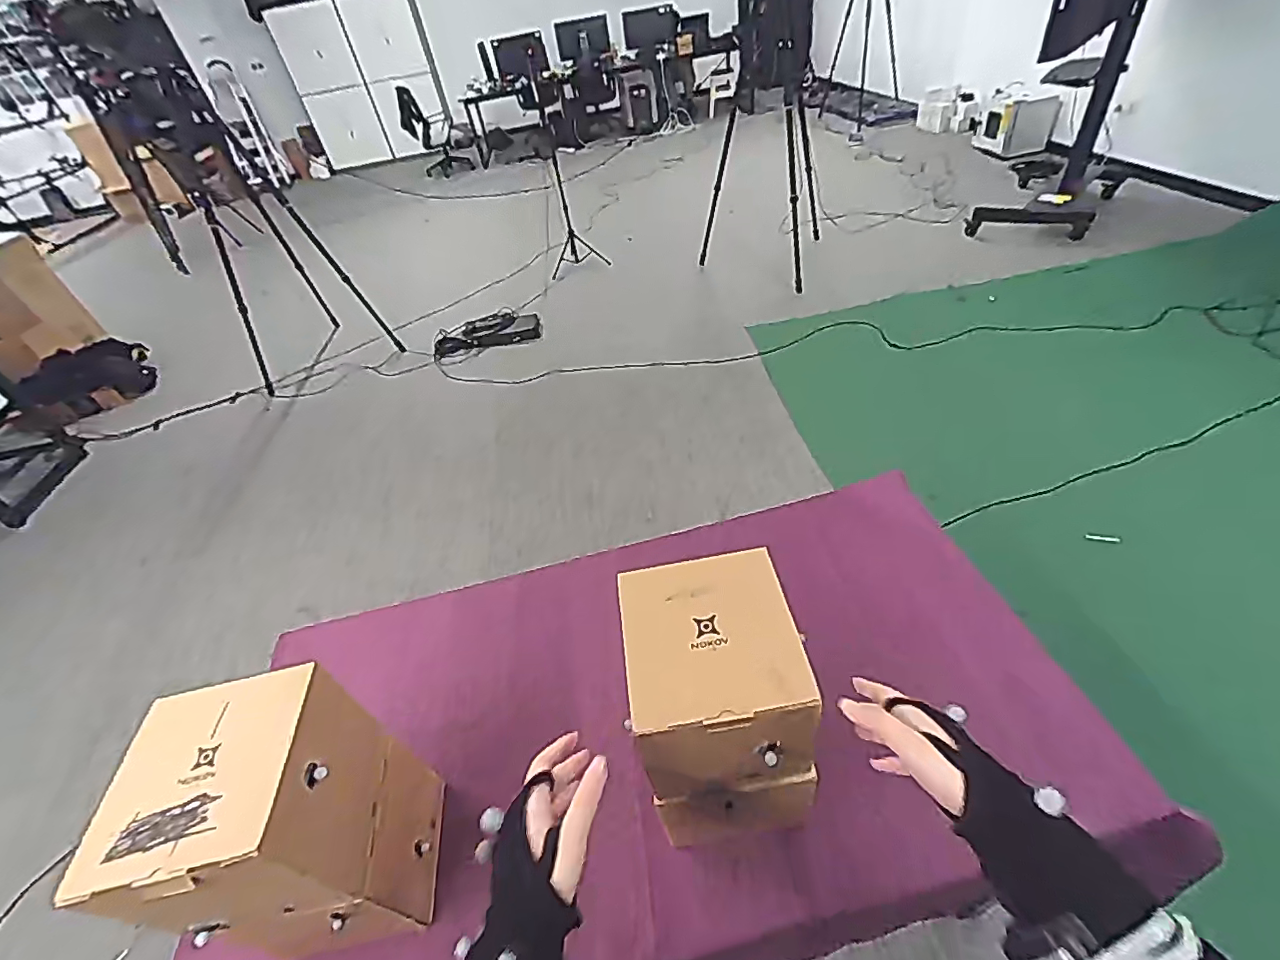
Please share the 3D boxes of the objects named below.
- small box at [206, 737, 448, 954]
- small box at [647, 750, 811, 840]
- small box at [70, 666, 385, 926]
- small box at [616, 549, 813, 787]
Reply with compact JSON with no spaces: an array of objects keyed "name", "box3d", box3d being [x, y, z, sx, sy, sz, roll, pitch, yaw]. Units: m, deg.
[{"name":"small box","box3d":[-0.360,0.449,0.664,0.179,0.176,0.168,-13,42,-1]},{"name":"small box","box3d":[0.103,0.328,0.678,0.179,0.176,0.168,-11,43,2]},{"name":"small box","box3d":[-0.388,0.328,0.556,0.168,0.176,0.179,-13,41,-2]},{"name":"small box","box3d":[0.075,0.204,0.575,0.168,0.176,0.179,-10,42,2]}]
